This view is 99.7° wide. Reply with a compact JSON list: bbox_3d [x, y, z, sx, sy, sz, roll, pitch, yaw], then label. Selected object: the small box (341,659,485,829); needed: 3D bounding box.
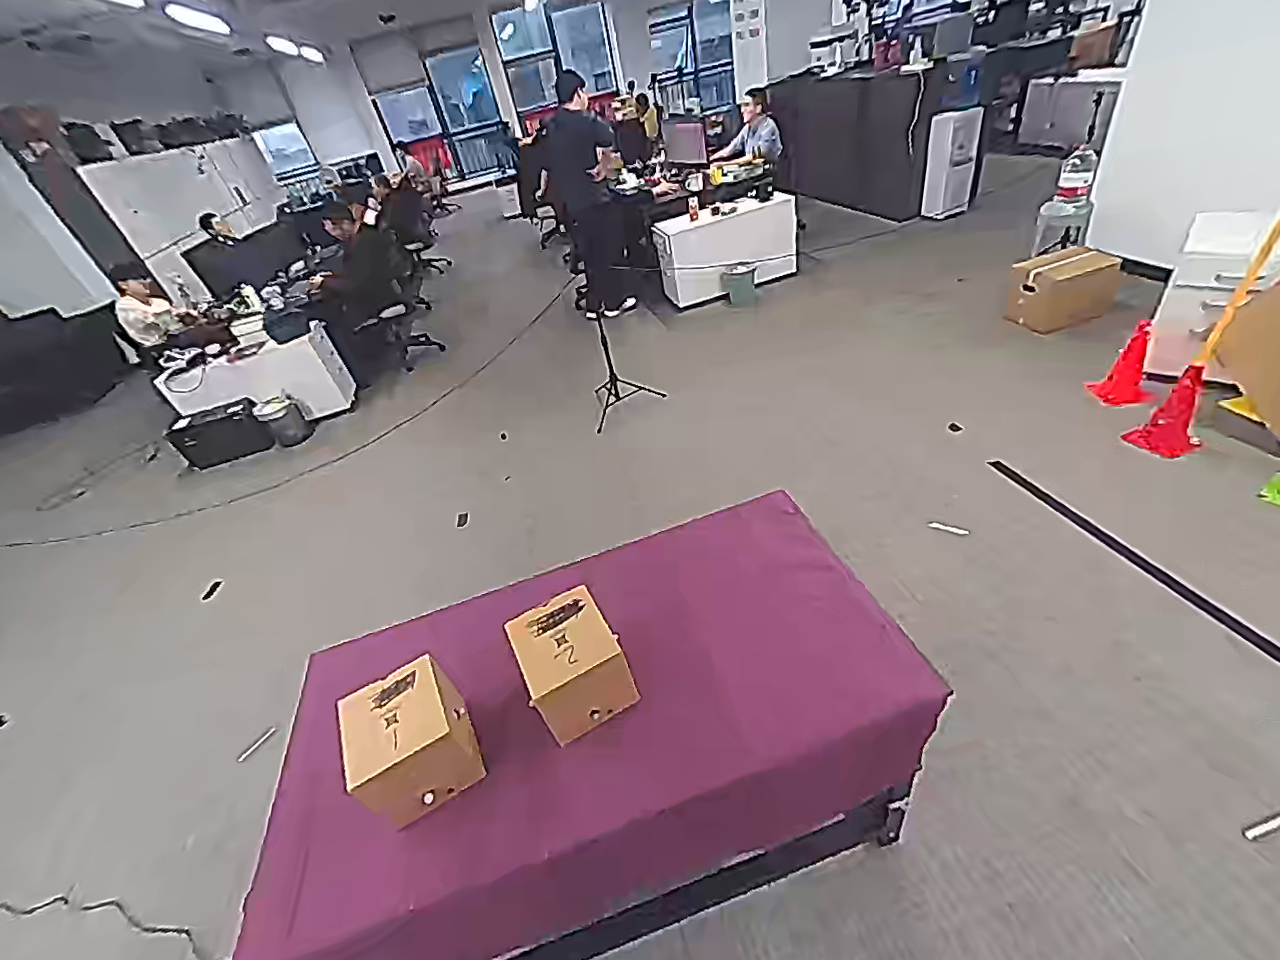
[{"bbox_3d":[-0.394,0.460,0.944,0.168,0.176,0.179,-28,40,-16],"label":"small box"}]
